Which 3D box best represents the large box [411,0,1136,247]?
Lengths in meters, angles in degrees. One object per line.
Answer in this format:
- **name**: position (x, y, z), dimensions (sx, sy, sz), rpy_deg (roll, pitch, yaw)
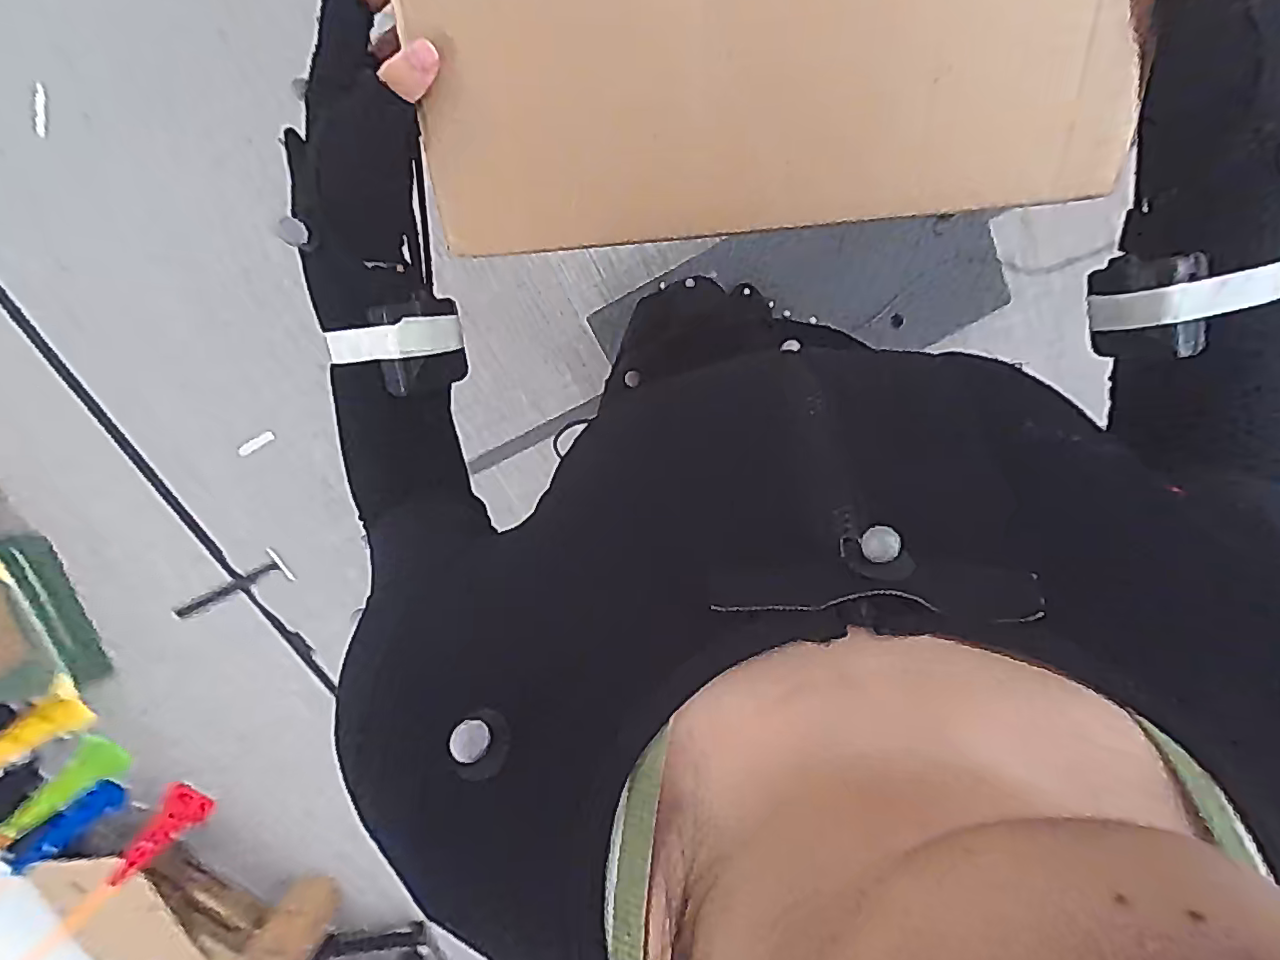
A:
- **large box**: position (0.073, -0.369, 0.408), dimensions (0.408, 0.320, 0.320), rpy_deg (-3, 116, 3)
